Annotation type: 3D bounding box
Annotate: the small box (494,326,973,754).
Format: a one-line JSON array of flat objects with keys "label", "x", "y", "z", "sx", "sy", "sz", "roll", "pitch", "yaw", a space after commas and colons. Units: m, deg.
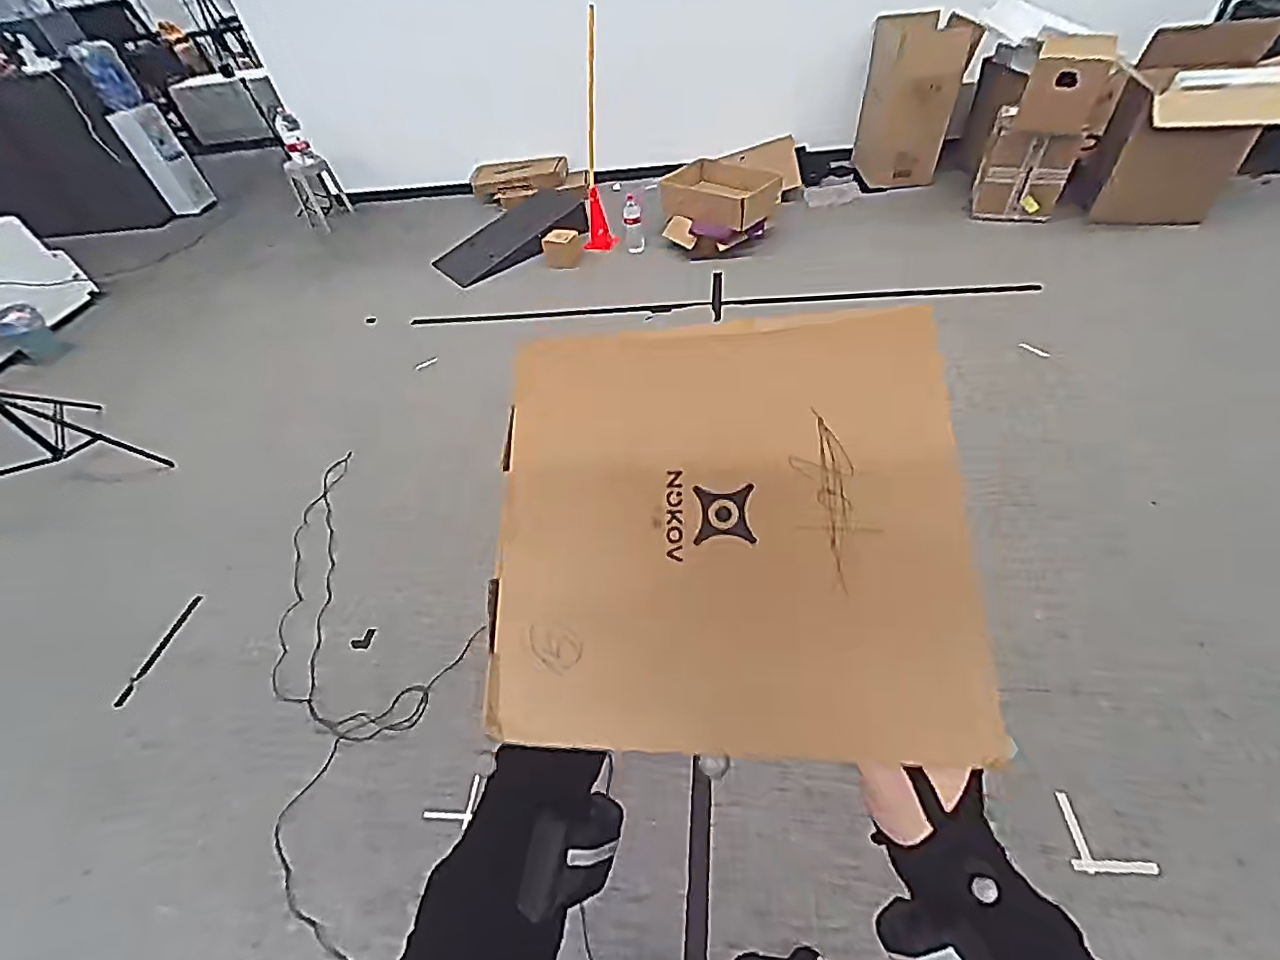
[{"label": "small box", "x": 0.044, "y": 0.040, "z": 0.294, "sx": 0.179, "sy": 0.176, "sz": 0.168, "roll": -2, "pitch": 73, "yaw": 11}]
